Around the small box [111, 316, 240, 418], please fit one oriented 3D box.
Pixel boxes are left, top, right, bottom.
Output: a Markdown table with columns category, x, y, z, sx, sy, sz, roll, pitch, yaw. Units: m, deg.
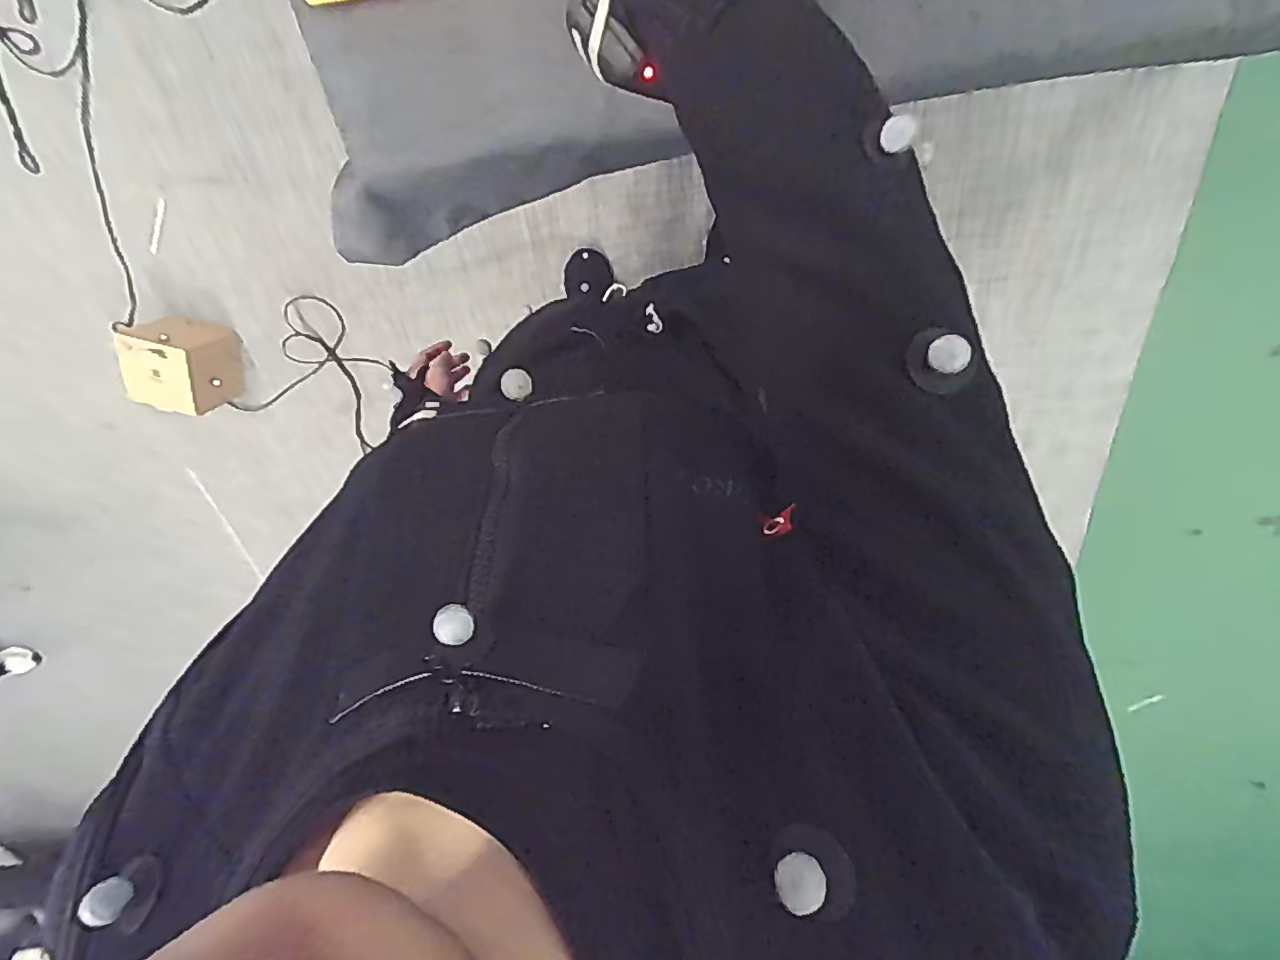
| category | x | y | z | sx | sy | sz | roll | pitch | yaw |
| --- | --- | --- | --- | --- | --- | --- | --- | --- | --- |
| small box | -1.132 | -0.283 | 1.338 | 0.168 | 0.176 | 0.179 | 15 | 120 | -3 |
